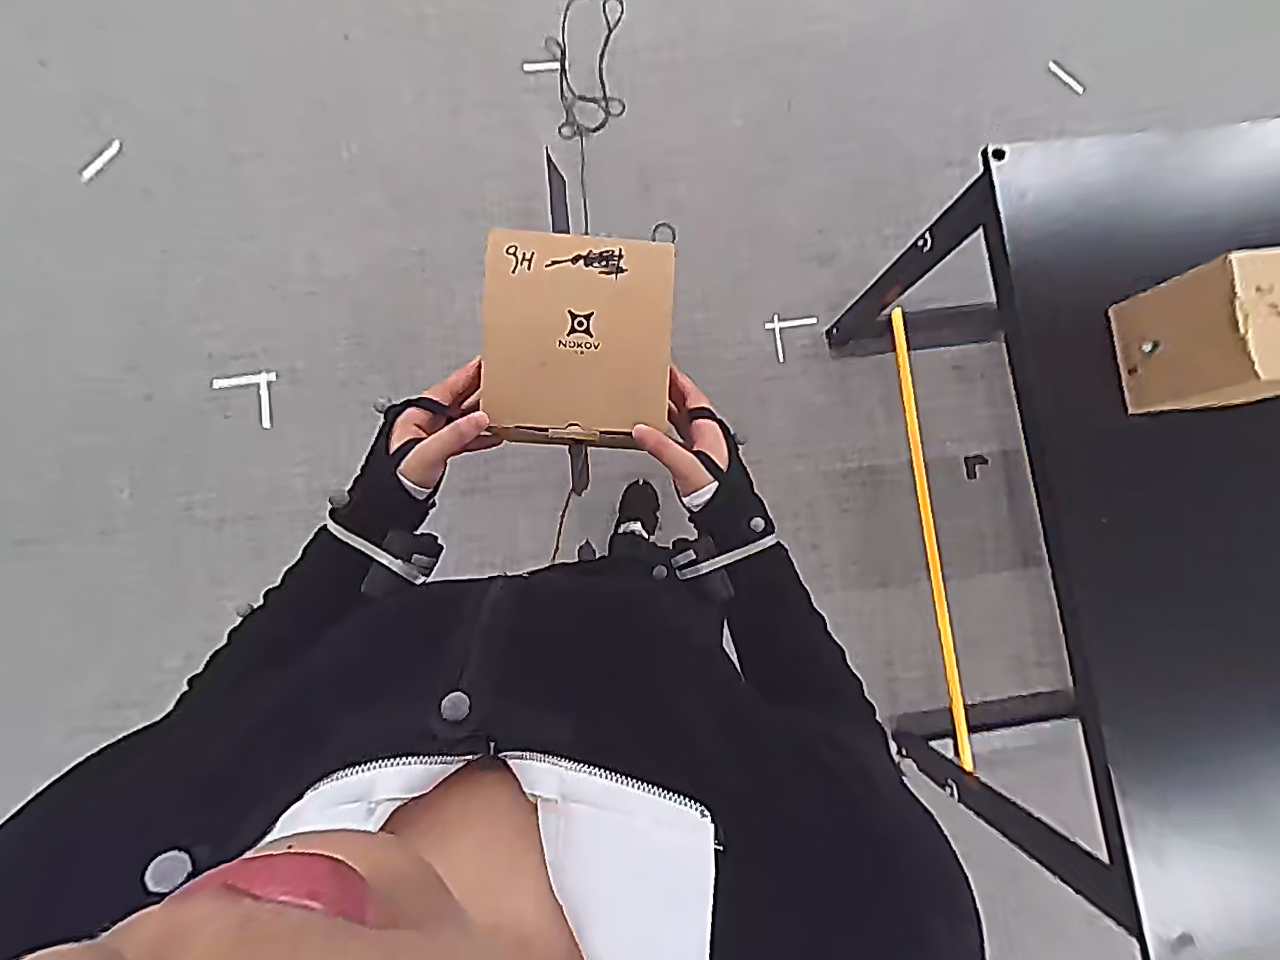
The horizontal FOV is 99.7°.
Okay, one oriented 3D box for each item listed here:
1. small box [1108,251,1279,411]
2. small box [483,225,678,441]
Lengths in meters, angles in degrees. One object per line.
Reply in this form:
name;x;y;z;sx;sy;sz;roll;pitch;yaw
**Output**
small box;0.811;-0.197;0.747;0.179;0.176;0.168;-5;84;-3
small box;-0.058;-0.132;0.555;0.168;0.176;0.179;3;90;-5
